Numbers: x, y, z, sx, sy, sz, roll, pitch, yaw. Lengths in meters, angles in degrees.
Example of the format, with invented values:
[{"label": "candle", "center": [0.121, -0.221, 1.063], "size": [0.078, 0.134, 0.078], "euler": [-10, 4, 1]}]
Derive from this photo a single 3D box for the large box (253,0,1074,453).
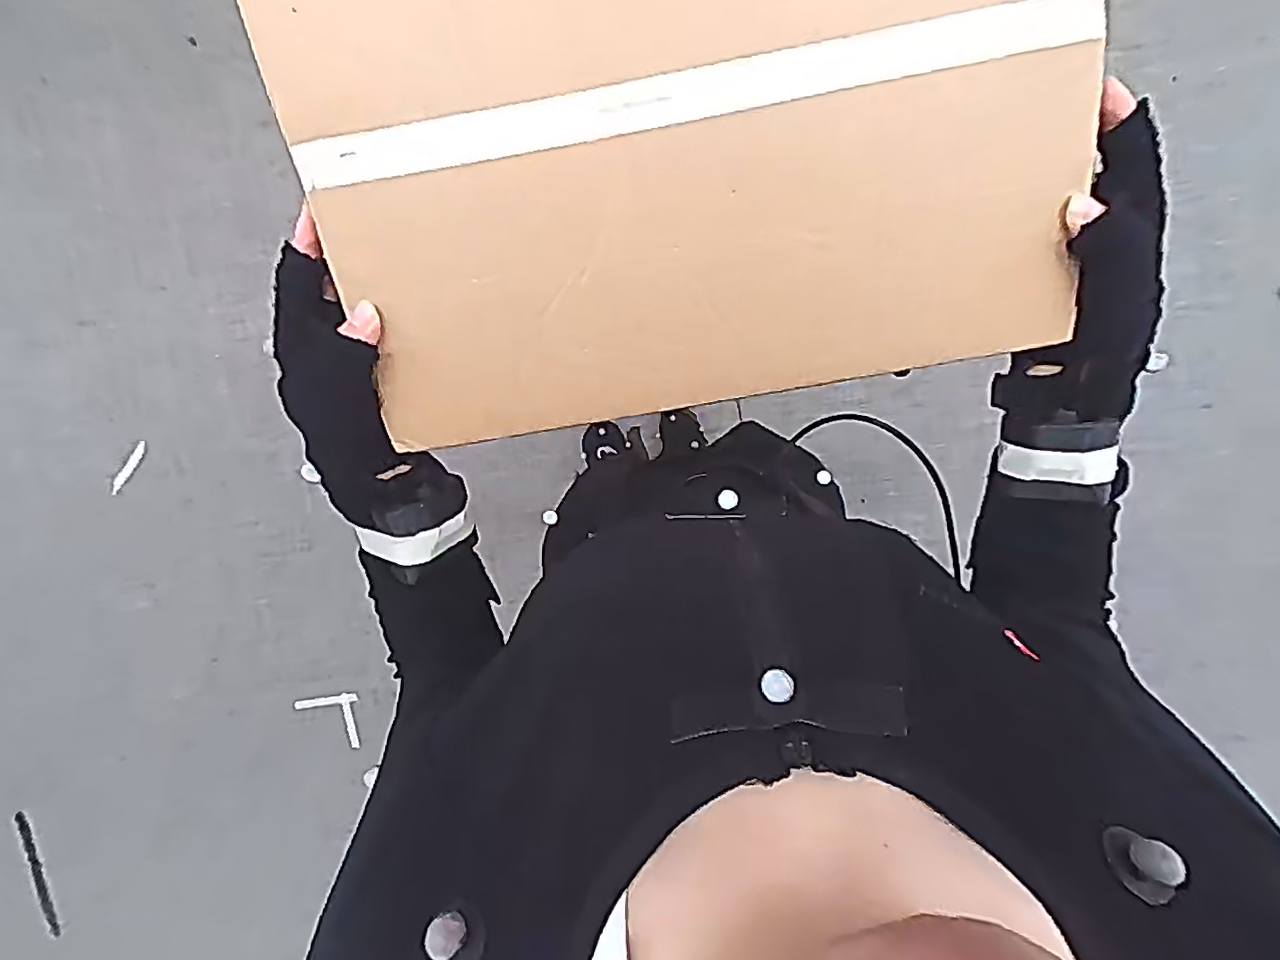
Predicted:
[{"label": "large box", "center": [0.020, -0.243, 0.420], "size": [0.408, 0.320, 0.320], "euler": [-9, 109, 2]}]
